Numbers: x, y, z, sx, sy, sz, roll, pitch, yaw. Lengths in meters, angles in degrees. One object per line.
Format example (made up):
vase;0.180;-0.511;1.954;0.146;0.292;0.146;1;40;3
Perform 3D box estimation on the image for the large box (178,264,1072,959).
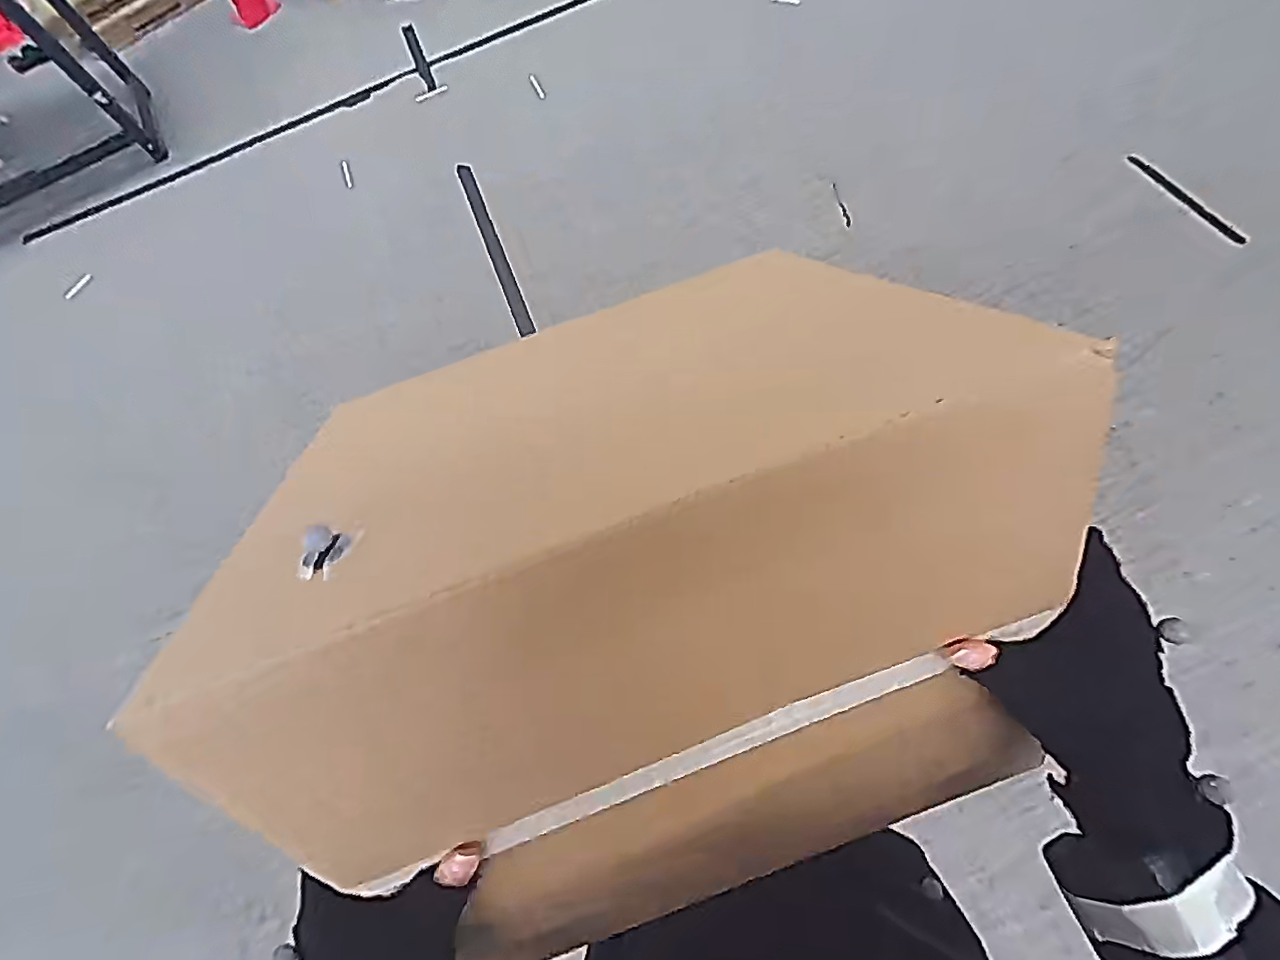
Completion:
large box;0.009;0.068;0.422;0.408;0.320;0.320;-21;32;-1
